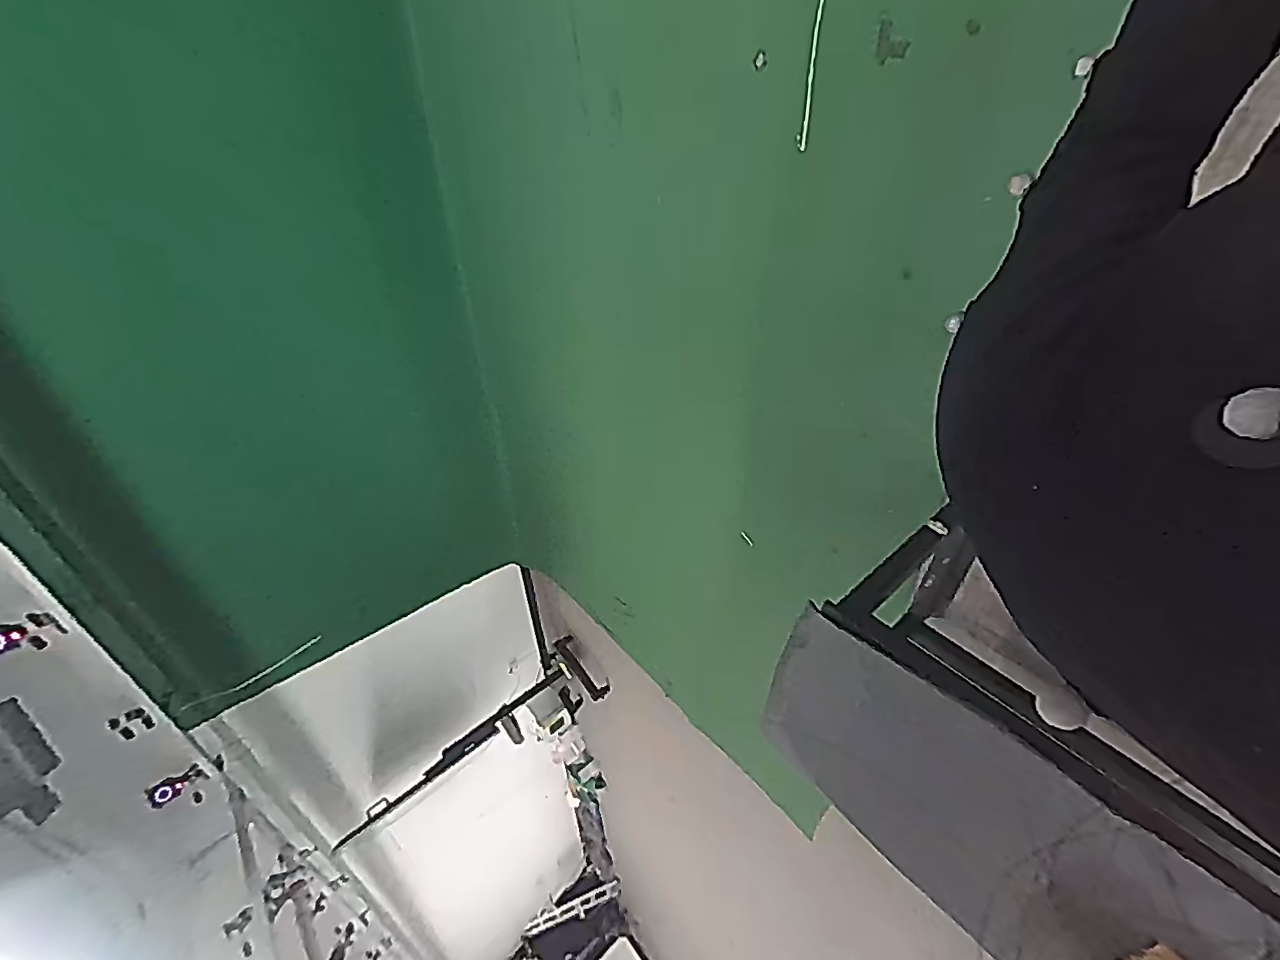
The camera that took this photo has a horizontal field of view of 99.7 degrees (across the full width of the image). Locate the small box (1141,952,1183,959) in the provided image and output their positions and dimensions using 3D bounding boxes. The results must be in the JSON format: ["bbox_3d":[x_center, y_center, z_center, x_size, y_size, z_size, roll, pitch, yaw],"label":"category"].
[{"bbox_3d":[0.779,0.838,0.773,0.168,0.176,0.179,36,140,37],"label":"small box"}]
